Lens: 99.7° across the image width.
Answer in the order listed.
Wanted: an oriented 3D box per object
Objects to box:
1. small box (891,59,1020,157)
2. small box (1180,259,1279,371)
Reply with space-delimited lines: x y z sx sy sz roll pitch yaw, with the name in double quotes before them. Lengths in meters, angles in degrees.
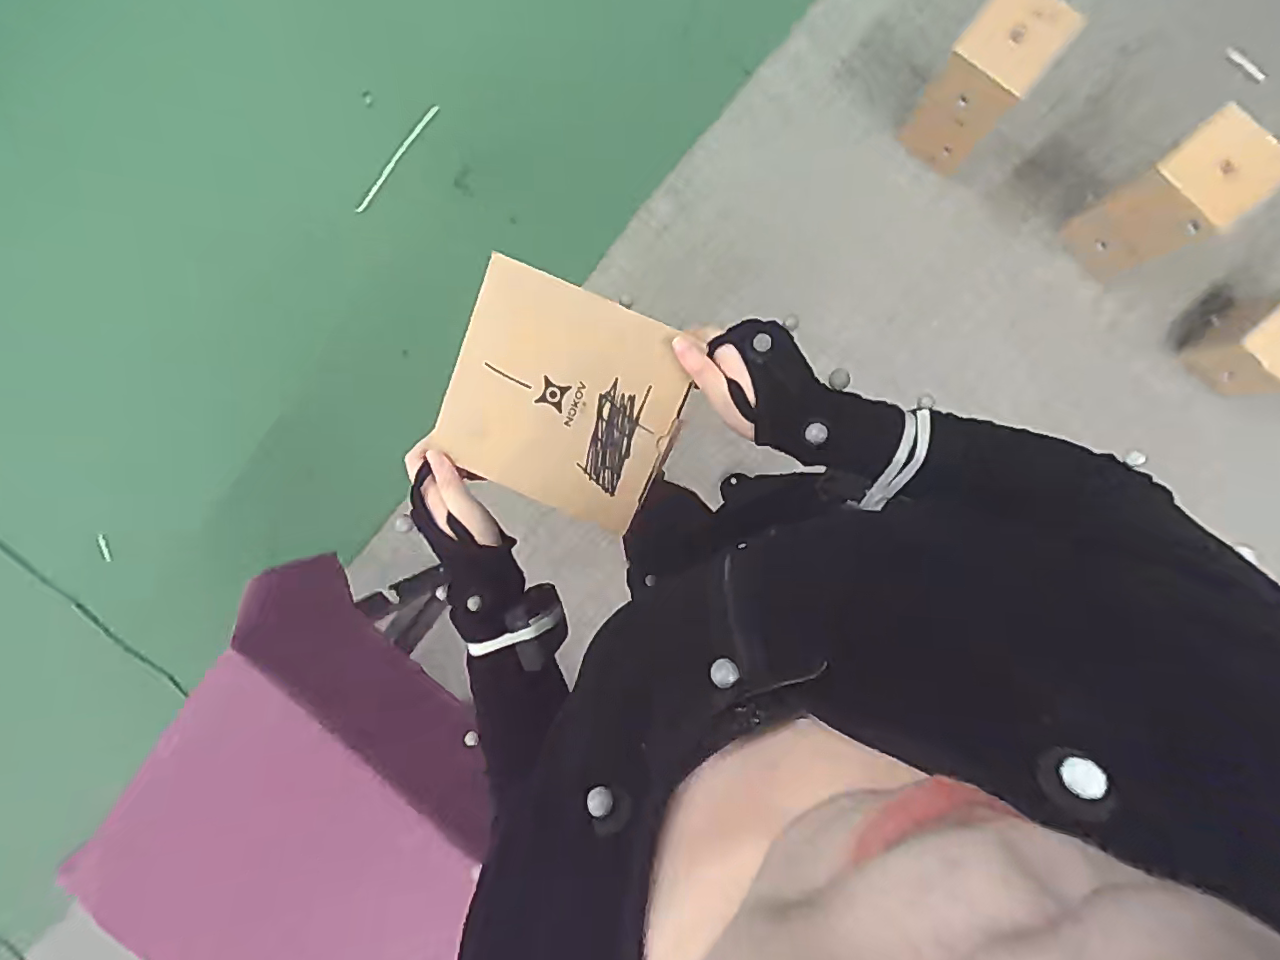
"small box" 0.713 -0.900 1.251 0.168 0.176 0.179 40 99 2
"small box" 1.378 -0.361 1.203 0.168 0.176 0.179 43 100 2
